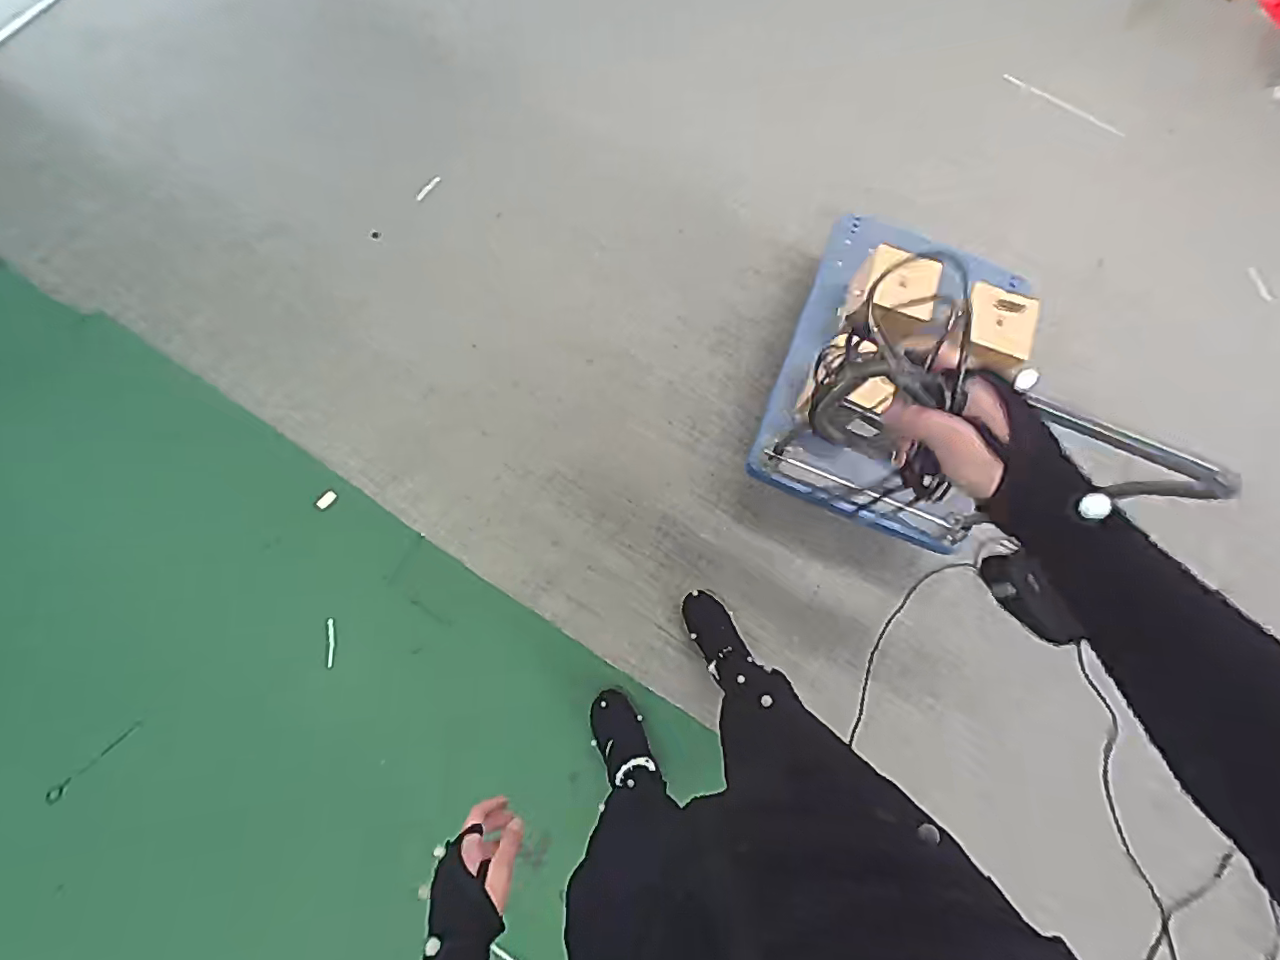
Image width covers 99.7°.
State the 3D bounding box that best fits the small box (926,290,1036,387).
[{"bbox_3d":[0.879,-0.353,1.406,0.168,0.176,0.179,21,76,4],"label":"small box"}]

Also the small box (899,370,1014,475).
[{"bbox_3d":[0.778,-0.137,1.344,0.168,0.176,0.179,24,76,4],"label":"small box"}]

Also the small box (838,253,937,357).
[{"bbox_3d":[0.642,-0.451,1.421,0.168,0.176,0.179,20,75,2],"label":"small box"}]
